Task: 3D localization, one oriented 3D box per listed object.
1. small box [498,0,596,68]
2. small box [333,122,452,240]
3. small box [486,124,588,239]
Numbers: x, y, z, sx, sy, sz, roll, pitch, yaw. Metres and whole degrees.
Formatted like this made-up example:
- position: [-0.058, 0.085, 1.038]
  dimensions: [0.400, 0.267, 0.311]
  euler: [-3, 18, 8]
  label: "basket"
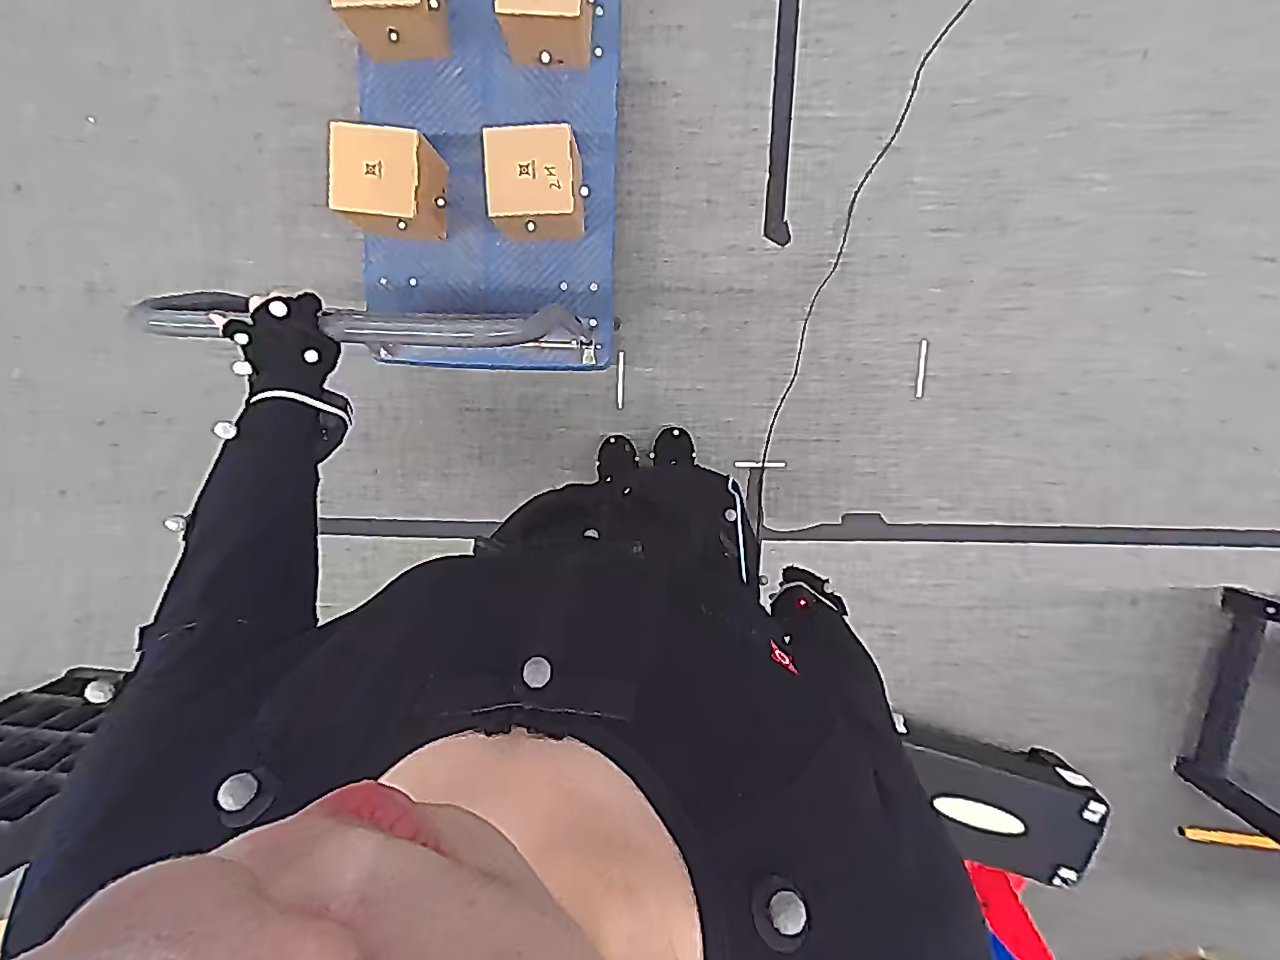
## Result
- position: [-0.180, -0.979, 1.088]
  dimensions: [0.168, 0.176, 0.179]
  euler: [4, 99, 1]
  label: "small box"
- position: [-0.518, -0.624, 1.148]
  dimensions: [0.179, 0.176, 0.168]
  euler: [5, 98, -1]
  label: "small box"
- position: [-0.209, -0.619, 1.140]
  dimensions: [0.179, 0.176, 0.168]
  euler: [-2, 98, 2]
  label: "small box"
